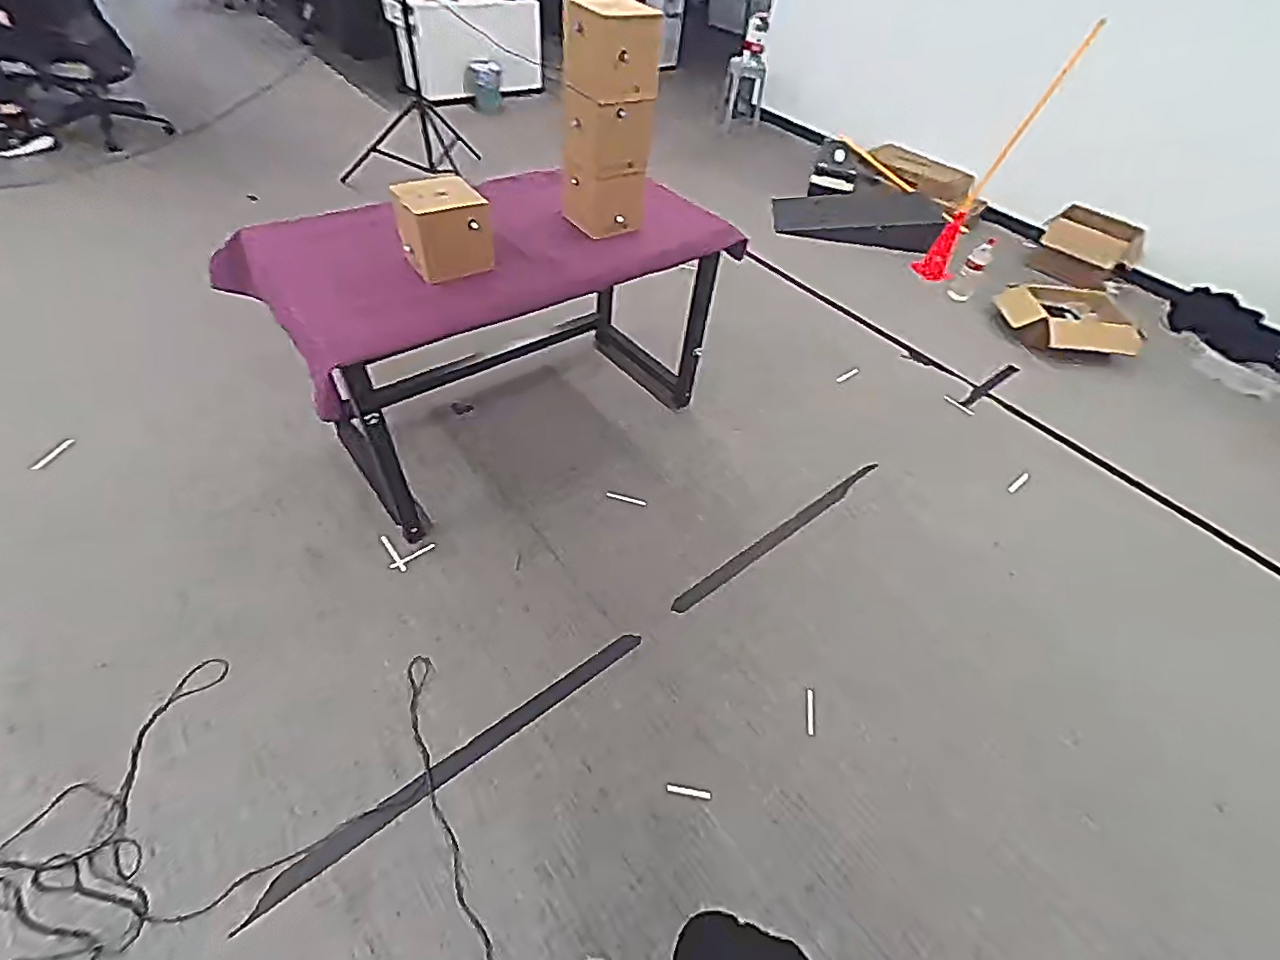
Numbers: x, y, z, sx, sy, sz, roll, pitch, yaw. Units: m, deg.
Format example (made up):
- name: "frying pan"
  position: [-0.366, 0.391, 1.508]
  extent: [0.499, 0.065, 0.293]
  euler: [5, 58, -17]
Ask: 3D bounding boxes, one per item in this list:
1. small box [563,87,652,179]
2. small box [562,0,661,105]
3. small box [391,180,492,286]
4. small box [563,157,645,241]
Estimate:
- name: "small box"
  position: [-0.090, -0.912, 1.414]
  extent: [0.168, 0.176, 0.179]
  euler: [-25, 56, -25]
- name: "small box"
  position: [-0.071, -1.013, 1.287]
  extent: [0.168, 0.176, 0.179]
  euler: [-25, 57, -25]
- name: "small box"
  position: [-0.475, -0.601, 1.318]
  extent: [0.179, 0.176, 0.168]
  euler: [-26, 57, -26]
- name: "small box"
  position: [-0.108, -0.809, 1.540]
  extent: [0.168, 0.176, 0.179]
  euler: [-27, 58, -26]
